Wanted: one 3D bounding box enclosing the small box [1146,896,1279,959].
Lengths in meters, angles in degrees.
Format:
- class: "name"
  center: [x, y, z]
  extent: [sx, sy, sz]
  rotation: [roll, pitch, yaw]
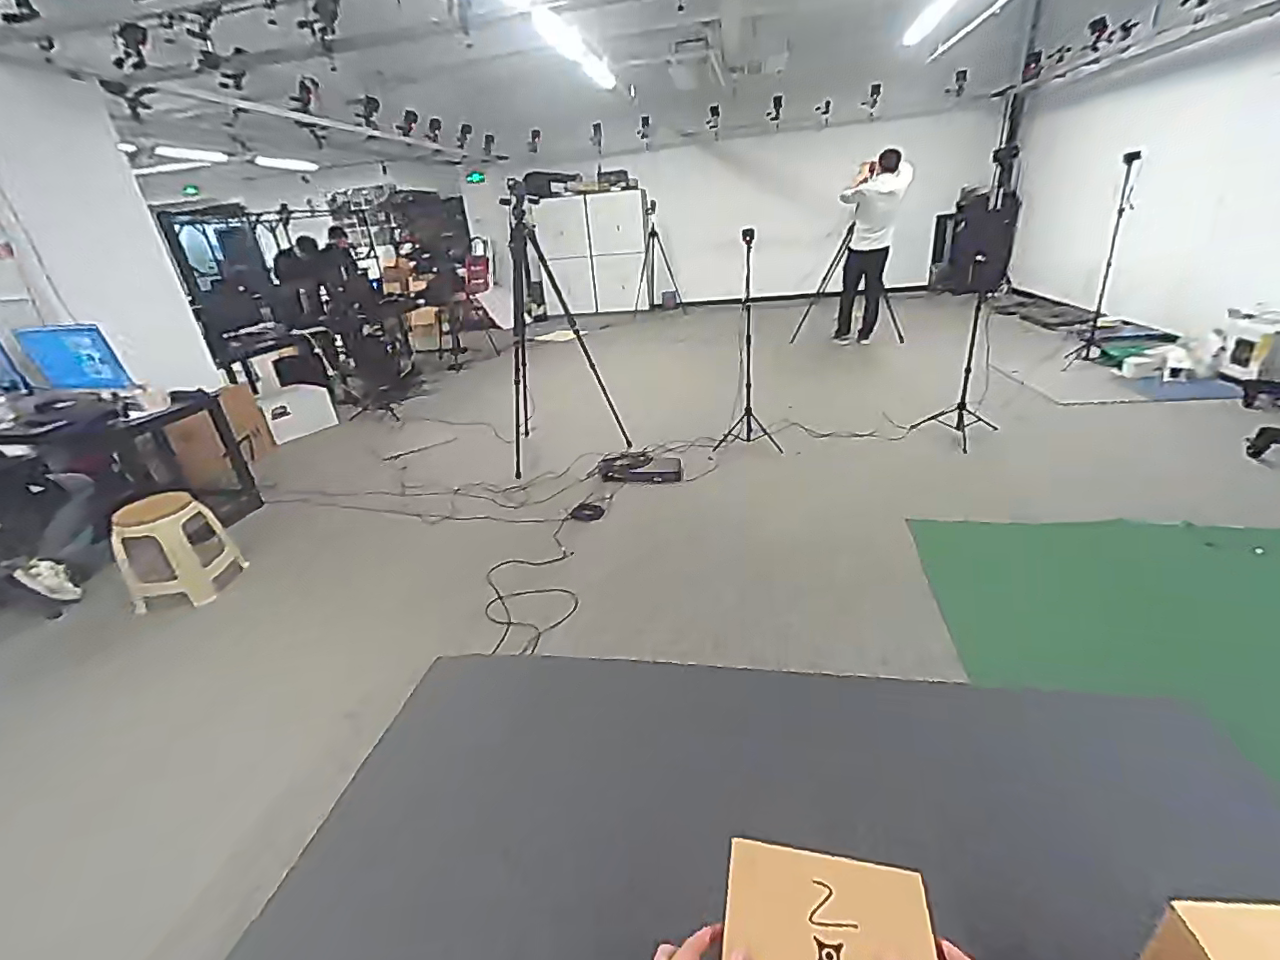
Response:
- class: "small box"
  center: [0.509, 0.446, 0.388]
  extent: [0.168, 0.176, 0.179]
  rotation: [-3, 26, 7]
